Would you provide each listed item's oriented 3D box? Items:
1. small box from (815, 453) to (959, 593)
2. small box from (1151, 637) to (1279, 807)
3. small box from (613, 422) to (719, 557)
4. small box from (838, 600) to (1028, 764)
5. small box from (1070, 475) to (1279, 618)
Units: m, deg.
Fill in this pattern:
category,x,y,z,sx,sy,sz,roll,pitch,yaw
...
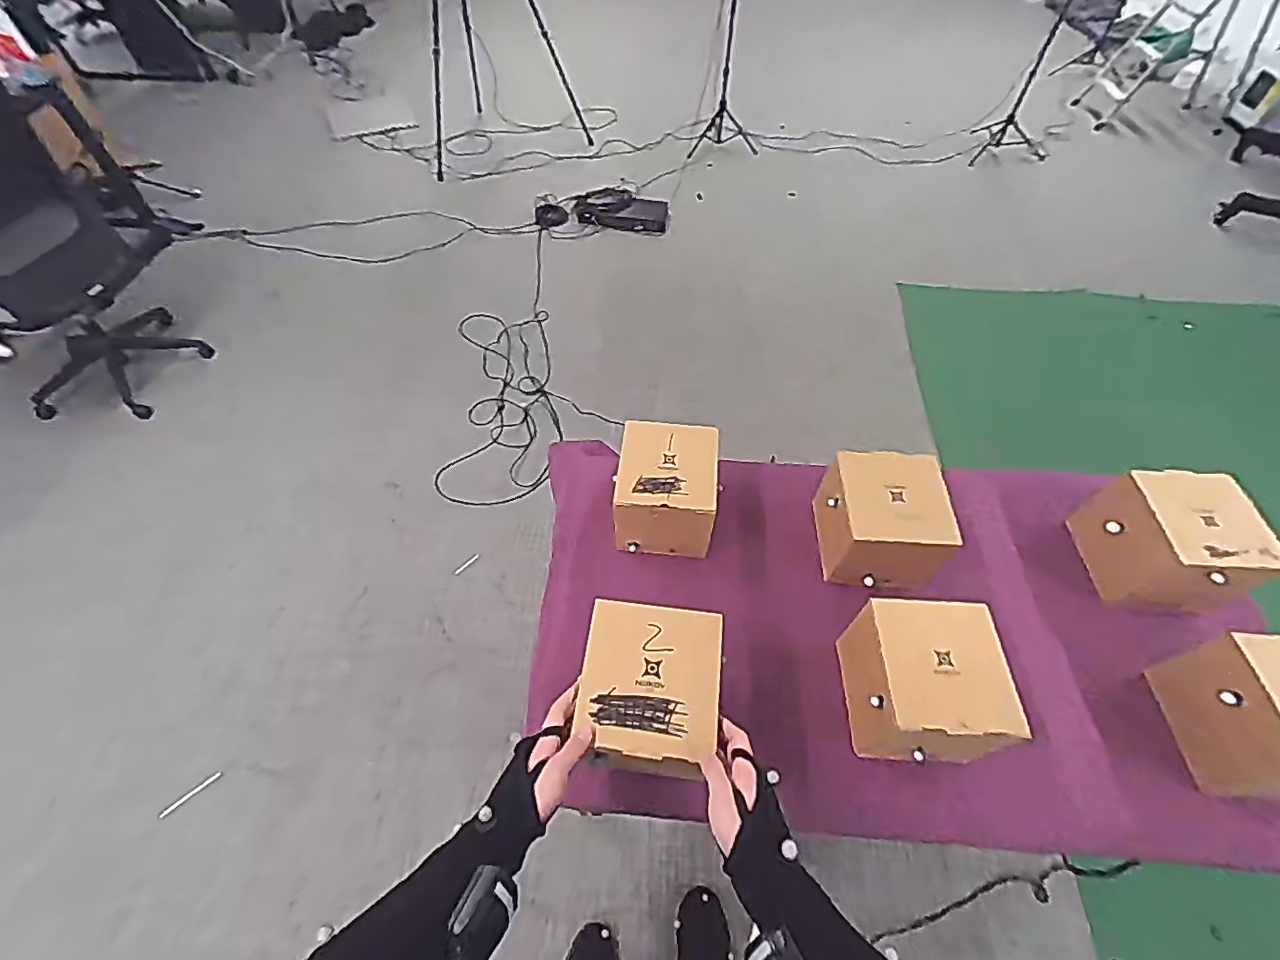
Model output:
category,x,y,z,sx,sy,sz,roll,pitch,yaw
small box,0.410,0.075,0.934,0.168,0.176,0.179,3,55,3
small box,0.873,0.336,0.741,0.168,0.176,0.179,4,54,4
small box,0.047,0.021,0.966,0.168,0.176,0.179,6,55,3
small box,0.399,0.292,0.777,0.168,0.176,0.179,3,54,1
small box,0.880,0.113,0.906,0.168,0.176,0.179,2,54,3
